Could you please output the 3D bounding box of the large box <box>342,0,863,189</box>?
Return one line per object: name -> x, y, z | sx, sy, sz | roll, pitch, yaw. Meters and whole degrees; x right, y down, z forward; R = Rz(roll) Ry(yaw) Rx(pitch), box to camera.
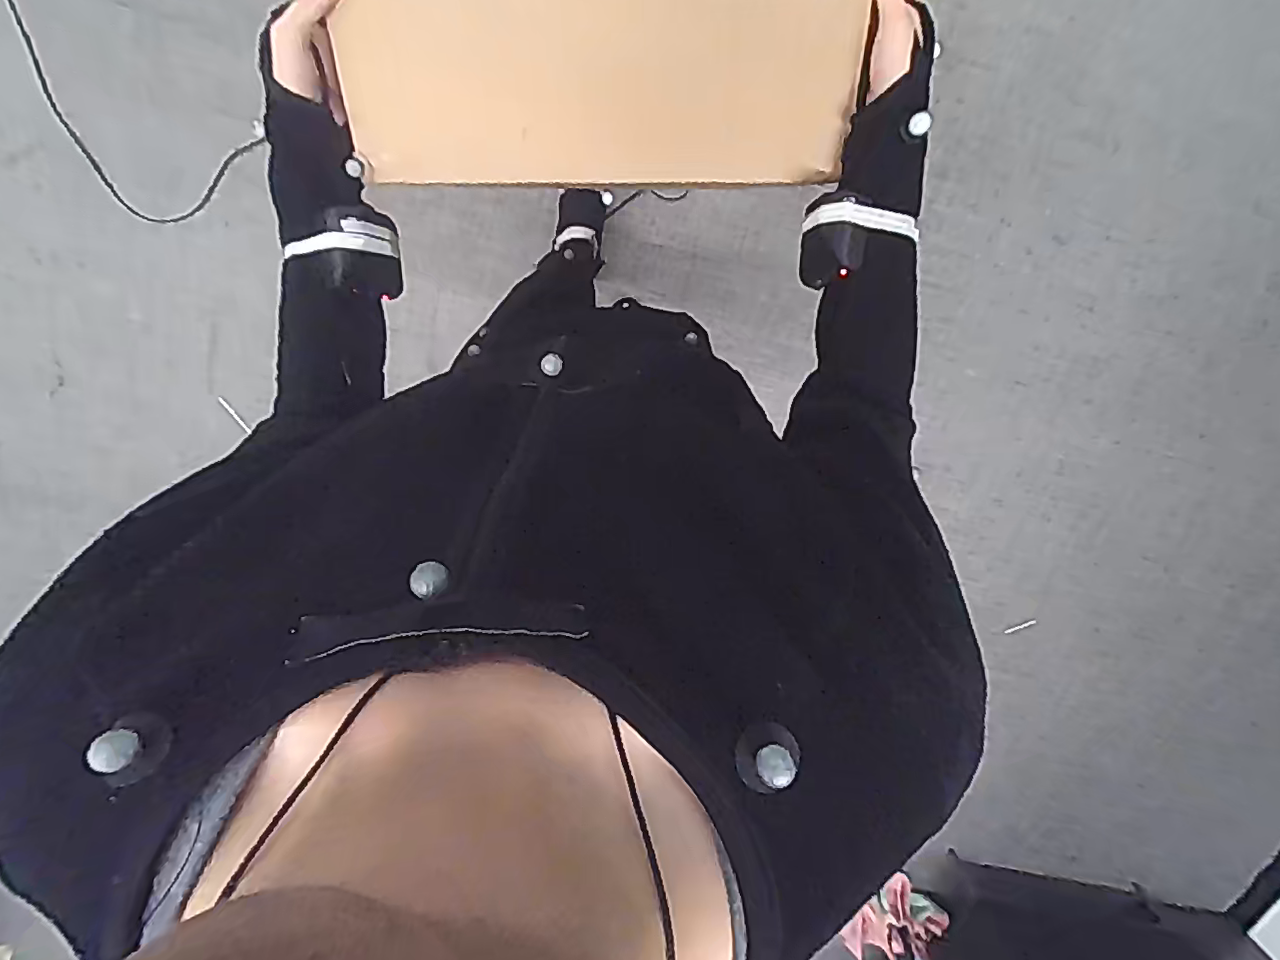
large box -> -0.030, -0.463, 0.528 | 0.408, 0.320, 0.320 | -1, 117, -2
